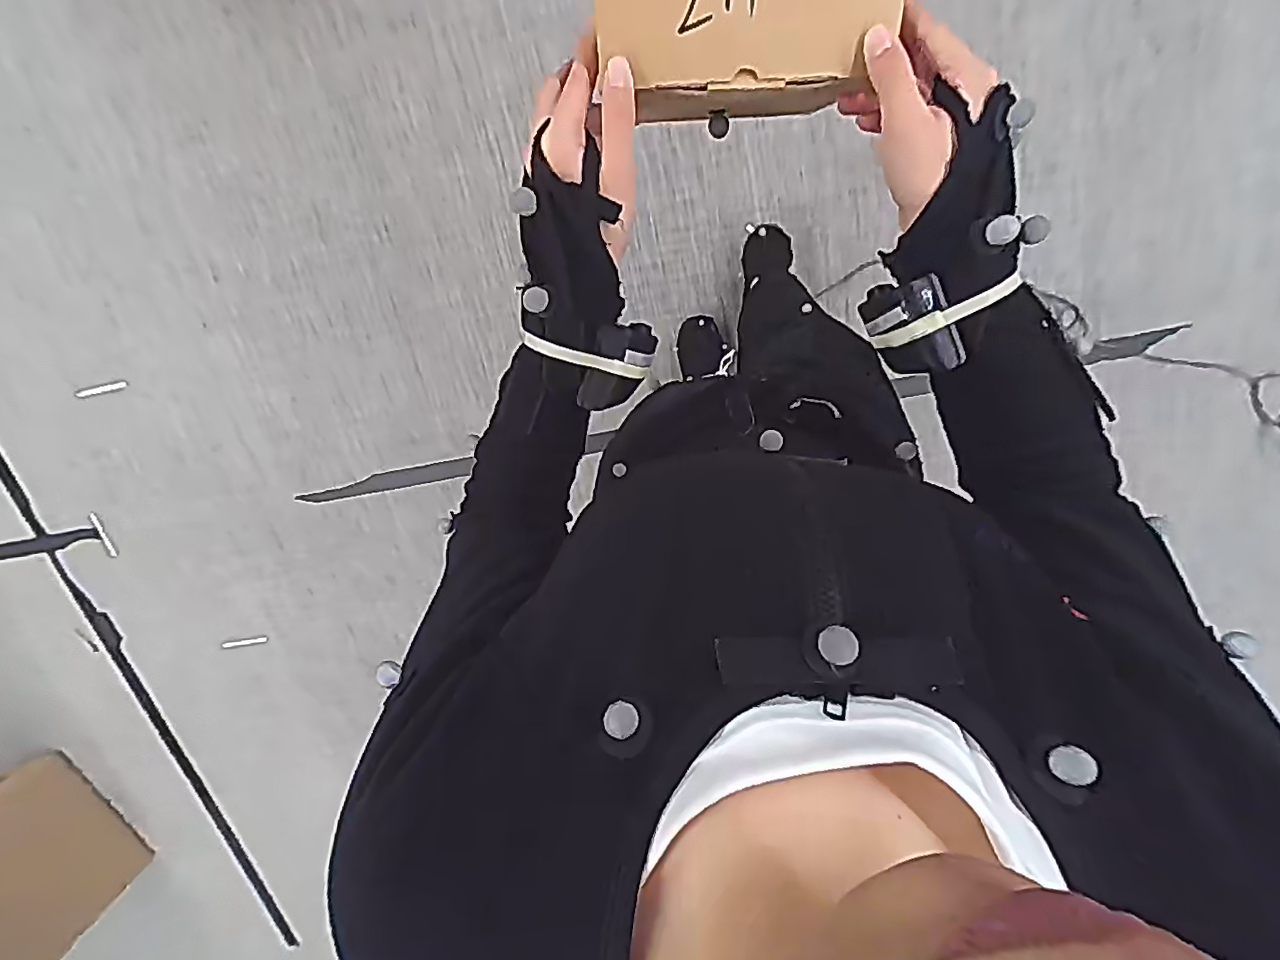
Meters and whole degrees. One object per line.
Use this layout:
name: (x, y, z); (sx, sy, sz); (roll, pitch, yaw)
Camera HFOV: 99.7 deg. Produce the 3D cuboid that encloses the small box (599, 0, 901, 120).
small box: (0.057, -0.342, 0.337); (0.168, 0.176, 0.179); (-2, 118, 1)
